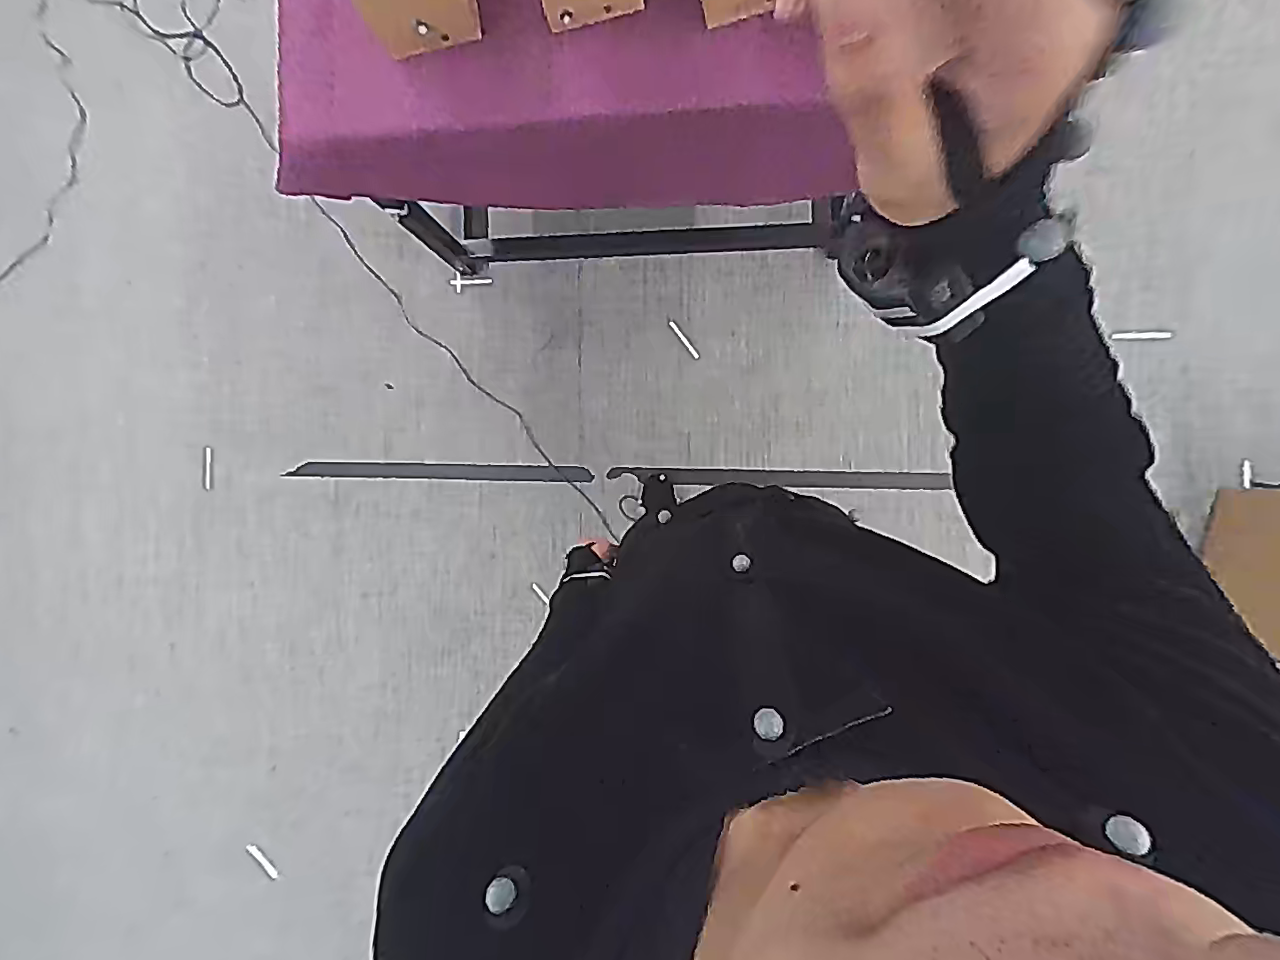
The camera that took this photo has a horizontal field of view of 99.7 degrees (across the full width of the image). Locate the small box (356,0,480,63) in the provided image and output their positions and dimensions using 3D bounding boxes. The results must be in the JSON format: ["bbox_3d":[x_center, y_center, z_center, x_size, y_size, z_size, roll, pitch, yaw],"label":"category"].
[{"bbox_3d":[-0.377,-0.840,0.881,0.168,0.176,0.179,-9,89,6],"label":"small box"}]

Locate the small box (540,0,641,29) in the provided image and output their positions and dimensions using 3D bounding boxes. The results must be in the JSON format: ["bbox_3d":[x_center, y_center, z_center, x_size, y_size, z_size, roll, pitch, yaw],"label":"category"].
[{"bbox_3d":[-0.097,-0.863,0.852,0.168,0.176,0.179,-10,88,6],"label":"small box"}]

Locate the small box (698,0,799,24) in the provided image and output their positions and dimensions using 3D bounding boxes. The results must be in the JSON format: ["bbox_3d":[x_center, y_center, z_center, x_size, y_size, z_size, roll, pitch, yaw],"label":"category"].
[{"bbox_3d":[0.164,-0.852,0.826,0.168,0.176,0.179,-13,88,6],"label":"small box"}]
